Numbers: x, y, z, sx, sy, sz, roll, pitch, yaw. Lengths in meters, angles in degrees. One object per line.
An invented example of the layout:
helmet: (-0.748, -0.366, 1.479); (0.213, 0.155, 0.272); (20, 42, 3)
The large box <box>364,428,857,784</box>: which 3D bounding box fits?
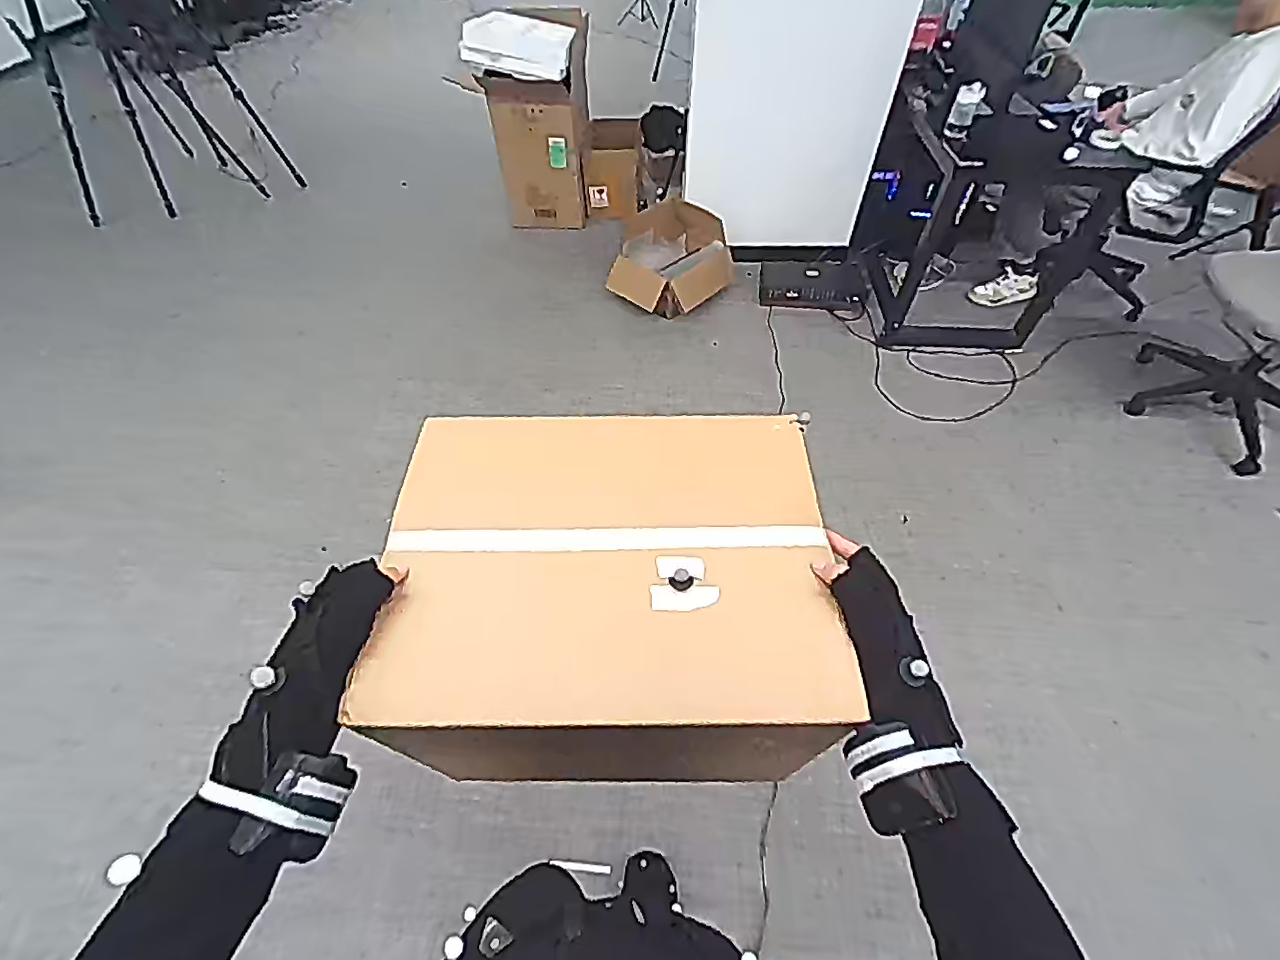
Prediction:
large box: (-0.026, 0.155, 0.635); (0.408, 0.320, 0.320); (0, 53, 0)
